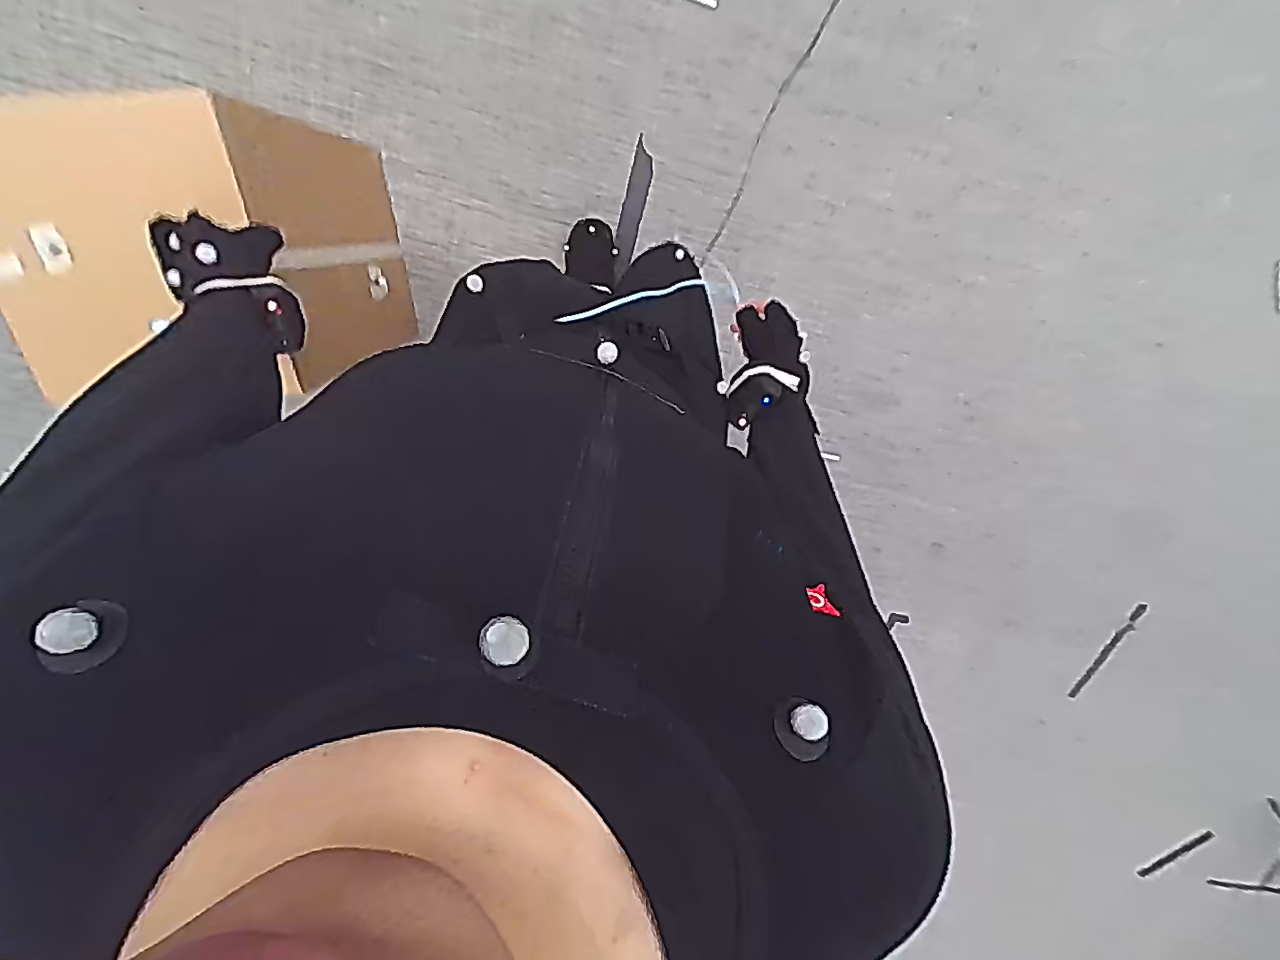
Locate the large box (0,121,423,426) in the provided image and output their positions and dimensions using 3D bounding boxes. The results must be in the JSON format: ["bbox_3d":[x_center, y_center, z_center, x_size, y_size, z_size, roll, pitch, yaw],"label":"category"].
[{"bbox_3d":[-0.572,-0.297,0.794,0.320,0.408,0.320,-5,114,0],"label":"large box"}]
